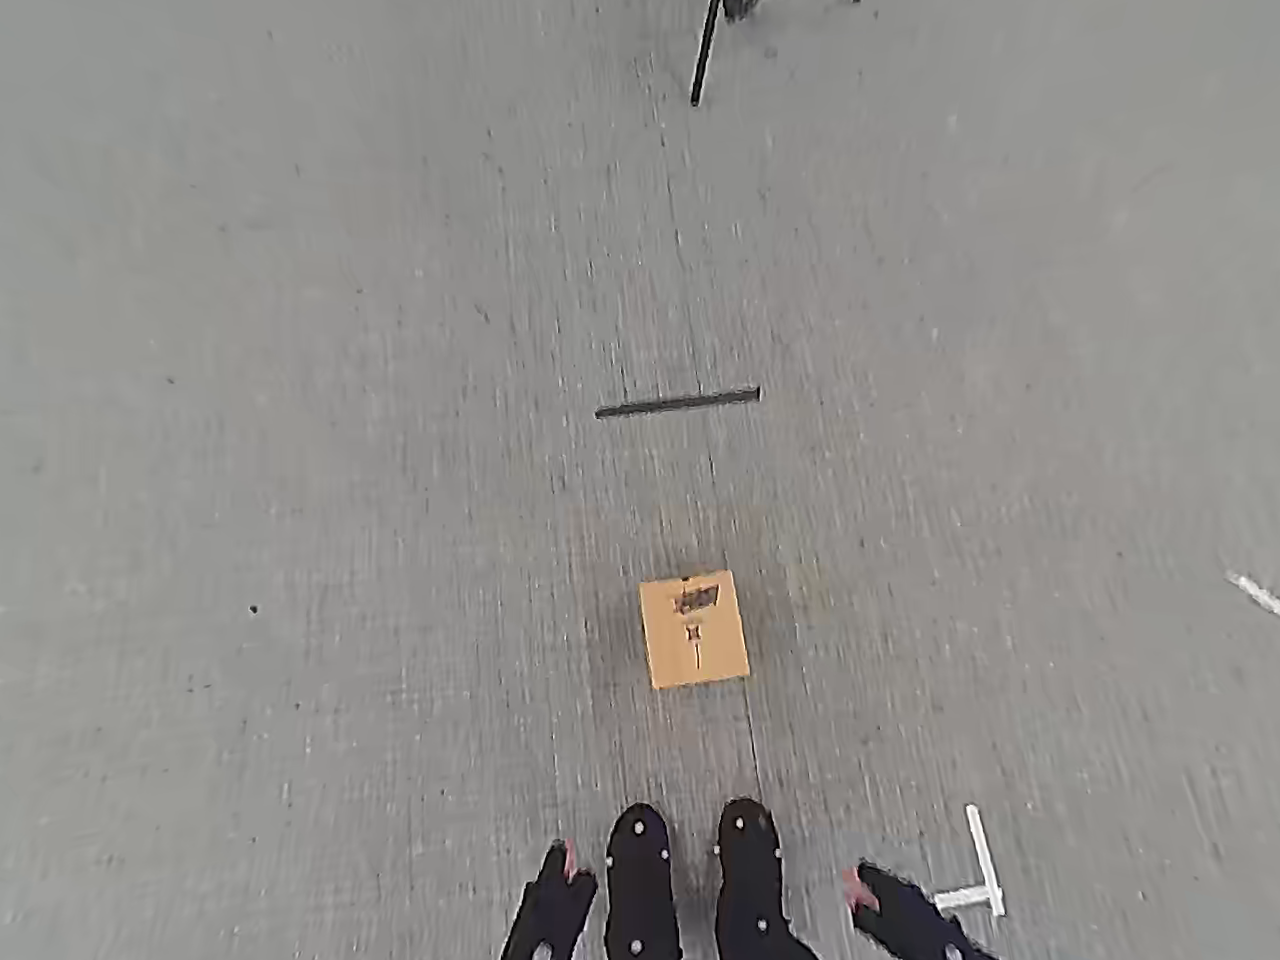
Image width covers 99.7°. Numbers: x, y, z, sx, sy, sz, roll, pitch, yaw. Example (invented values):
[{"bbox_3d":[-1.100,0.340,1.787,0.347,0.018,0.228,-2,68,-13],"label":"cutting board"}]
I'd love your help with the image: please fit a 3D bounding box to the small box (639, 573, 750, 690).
[{"bbox_3d":[0.090,0.273,0.987,0.168,0.176,0.179,-7,76,-2],"label":"small box"}]
